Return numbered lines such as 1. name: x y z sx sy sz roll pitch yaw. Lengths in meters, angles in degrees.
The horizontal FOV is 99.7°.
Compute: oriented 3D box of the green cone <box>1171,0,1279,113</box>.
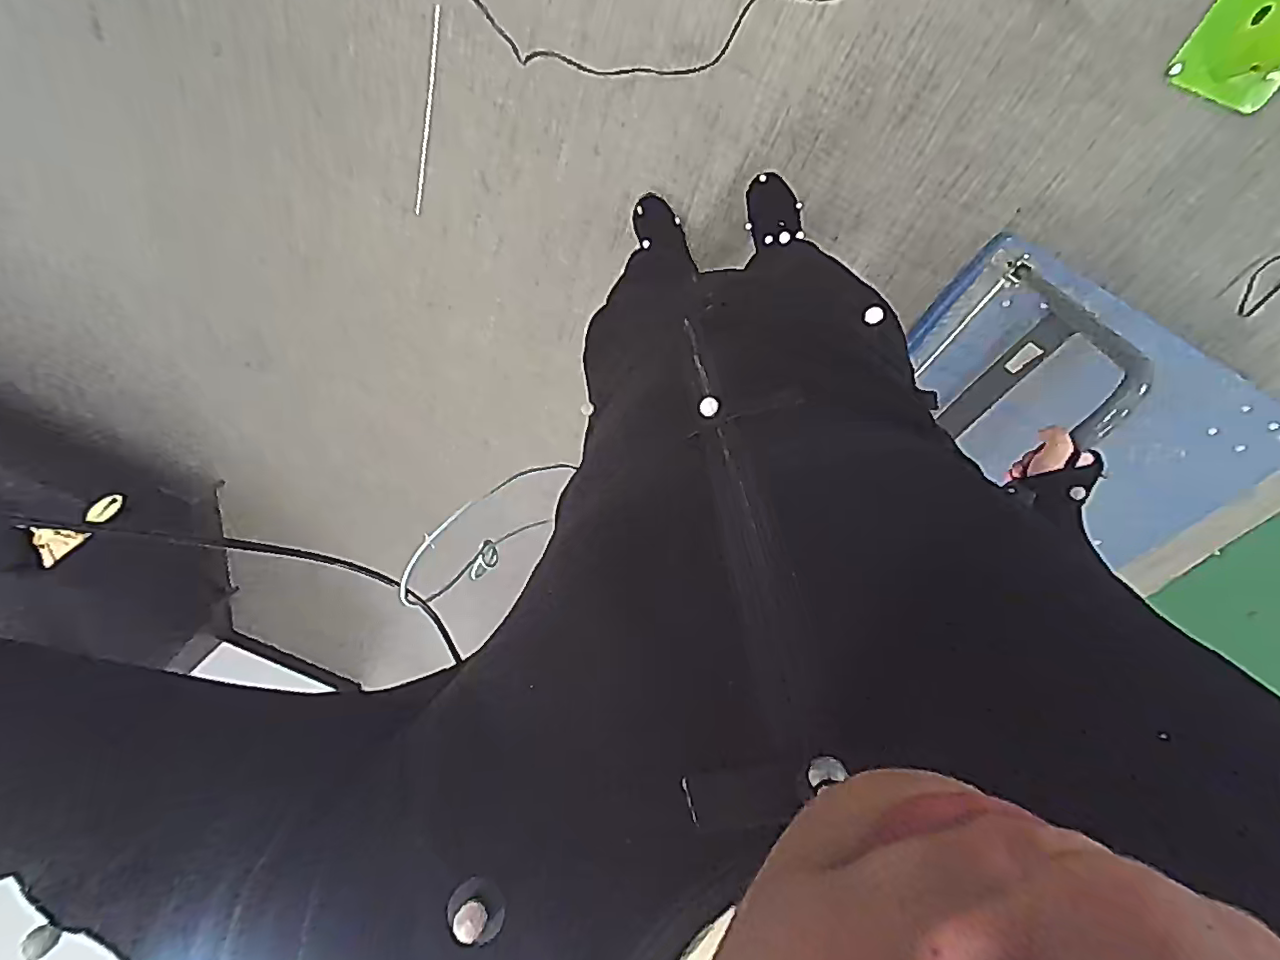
1. green cone: 1.093 -0.718 0.843 0.200 0.368 0.202 22 125 0
